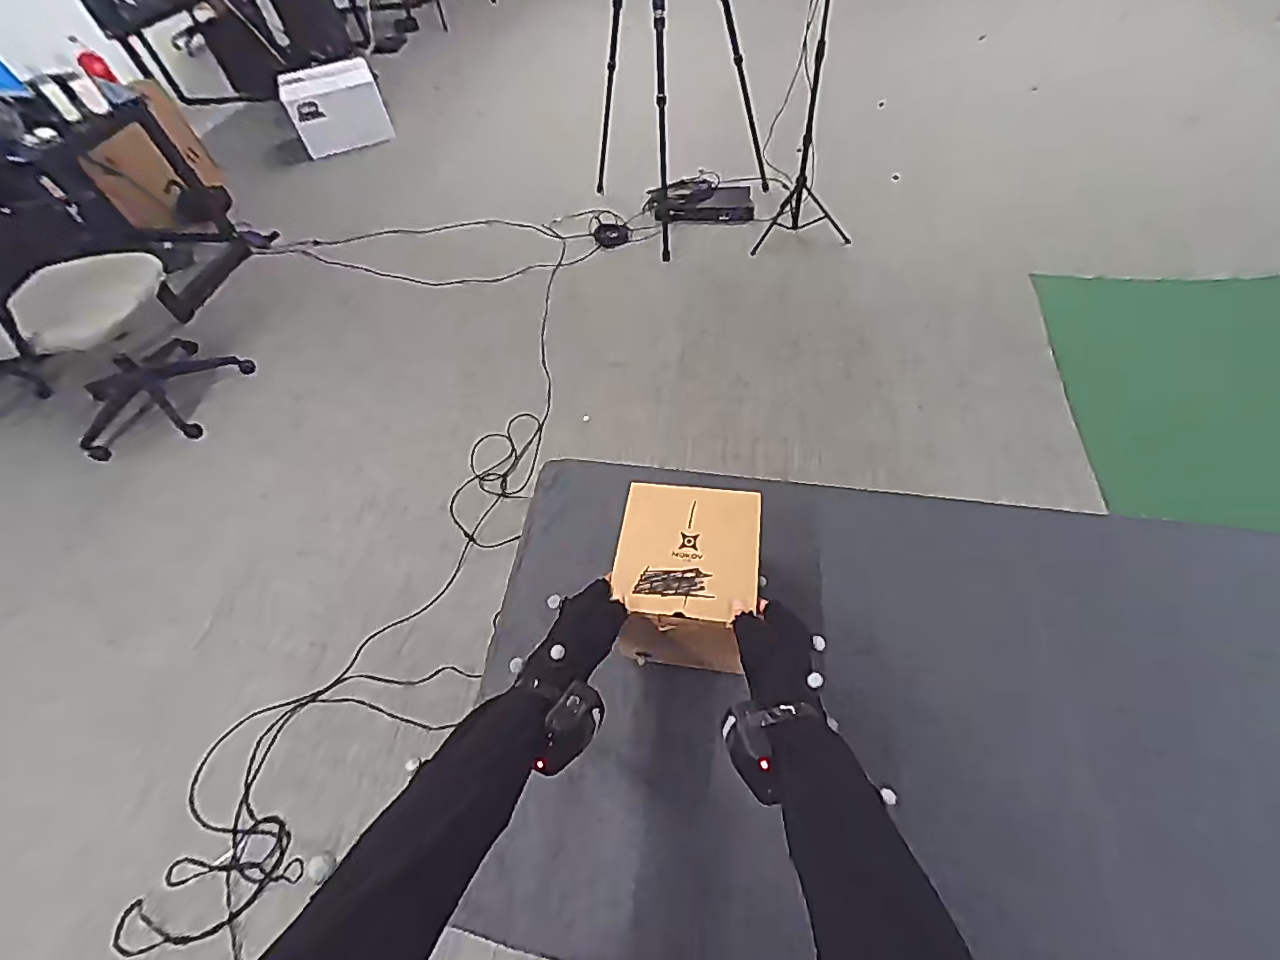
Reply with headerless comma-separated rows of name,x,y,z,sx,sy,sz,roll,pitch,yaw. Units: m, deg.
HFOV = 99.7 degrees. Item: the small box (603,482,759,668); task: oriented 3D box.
small box,0.060,0.125,0.694,0.168,0.176,0.179,5,54,10
